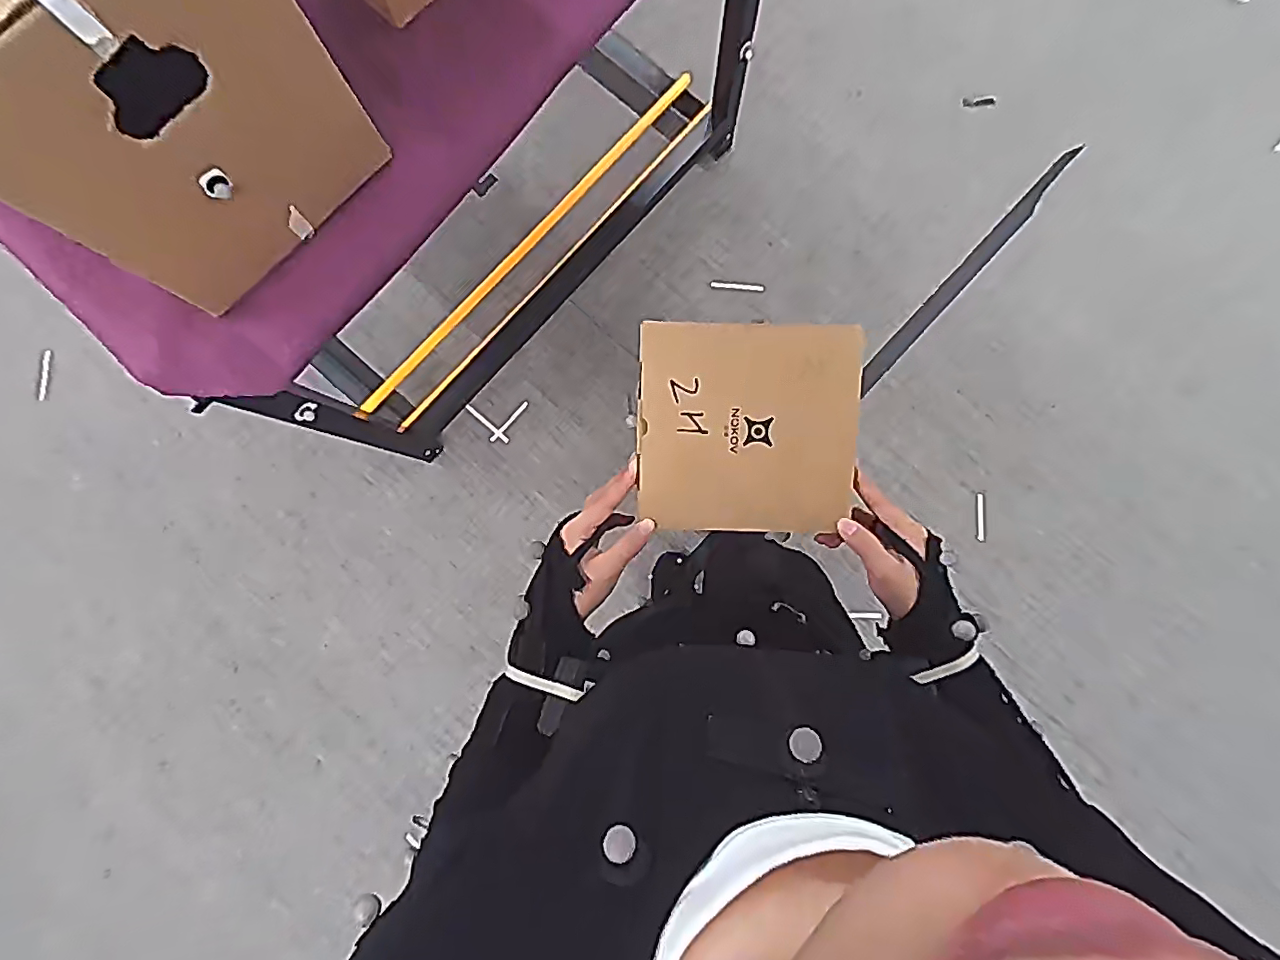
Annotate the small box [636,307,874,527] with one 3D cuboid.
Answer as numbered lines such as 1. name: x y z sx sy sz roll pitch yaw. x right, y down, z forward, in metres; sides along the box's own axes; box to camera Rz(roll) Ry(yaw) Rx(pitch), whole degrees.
1. small box: 0.089 -0.057 0.497 0.179 0.176 0.168 2 96 2
